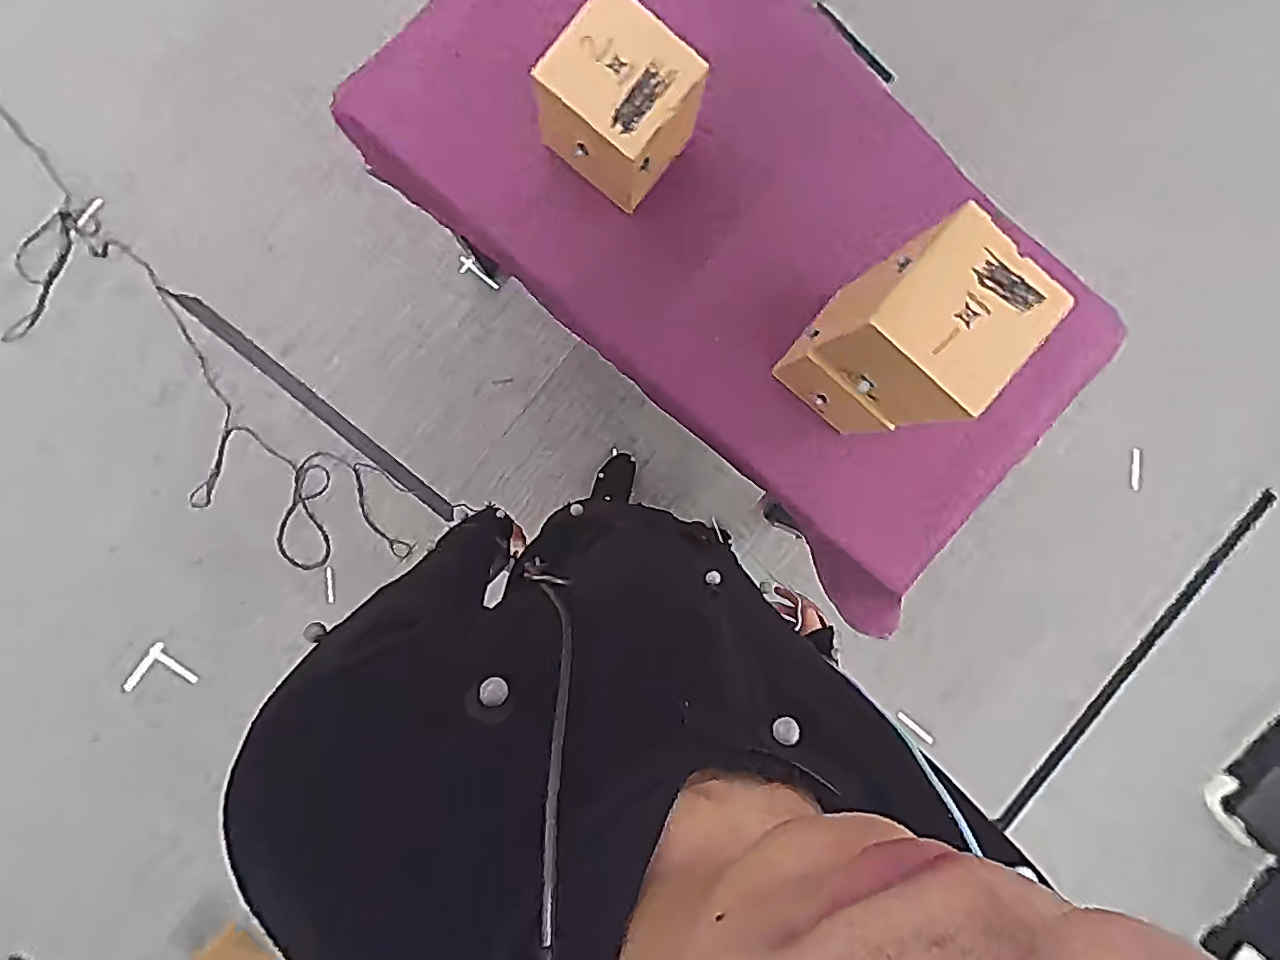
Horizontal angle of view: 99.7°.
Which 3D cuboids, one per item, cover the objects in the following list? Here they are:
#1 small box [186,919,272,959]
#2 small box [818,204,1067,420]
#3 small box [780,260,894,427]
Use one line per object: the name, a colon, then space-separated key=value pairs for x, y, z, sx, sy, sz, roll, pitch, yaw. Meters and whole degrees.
small box: x=-1.240 y=1.444 z=1.580 sx=0.168 sy=0.176 sz=0.179 roll=-43 pitch=96 yaw=-1
small box: x=0.359 y=-0.193 z=0.678 sx=0.168 sy=0.176 sz=0.179 roll=41 pitch=91 yaw=-5
small box: x=0.342 y=-0.196 z=0.842 sx=0.168 sy=0.176 sz=0.179 roll=40 pitch=90 yaw=-5
